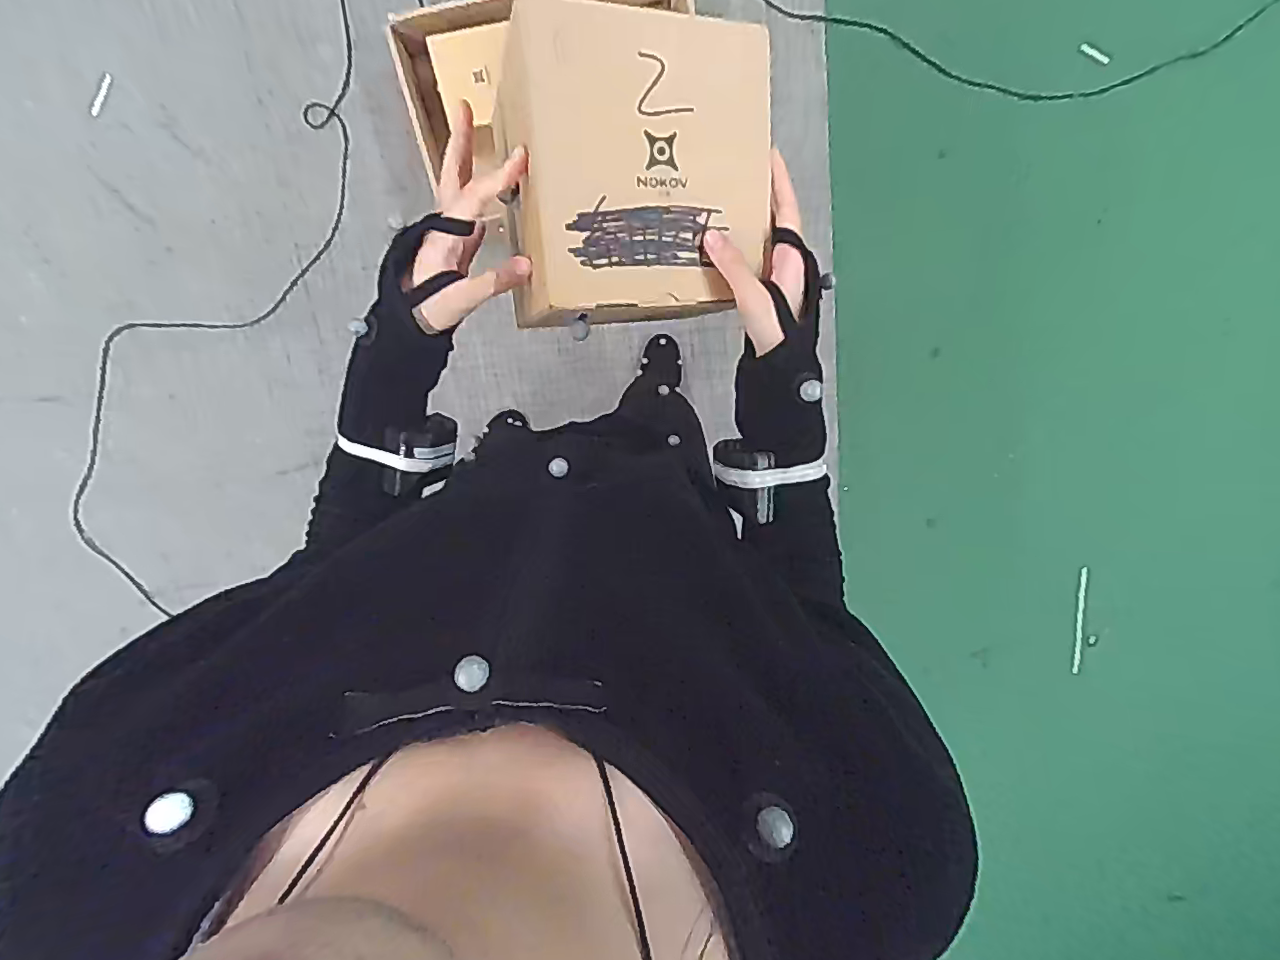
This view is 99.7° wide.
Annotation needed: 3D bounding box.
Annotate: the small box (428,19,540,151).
[{"bbox_3d":[-0.321,-0.826,1.149,0.179,0.176,0.168,-13,106,-2],"label":"small box"}]
